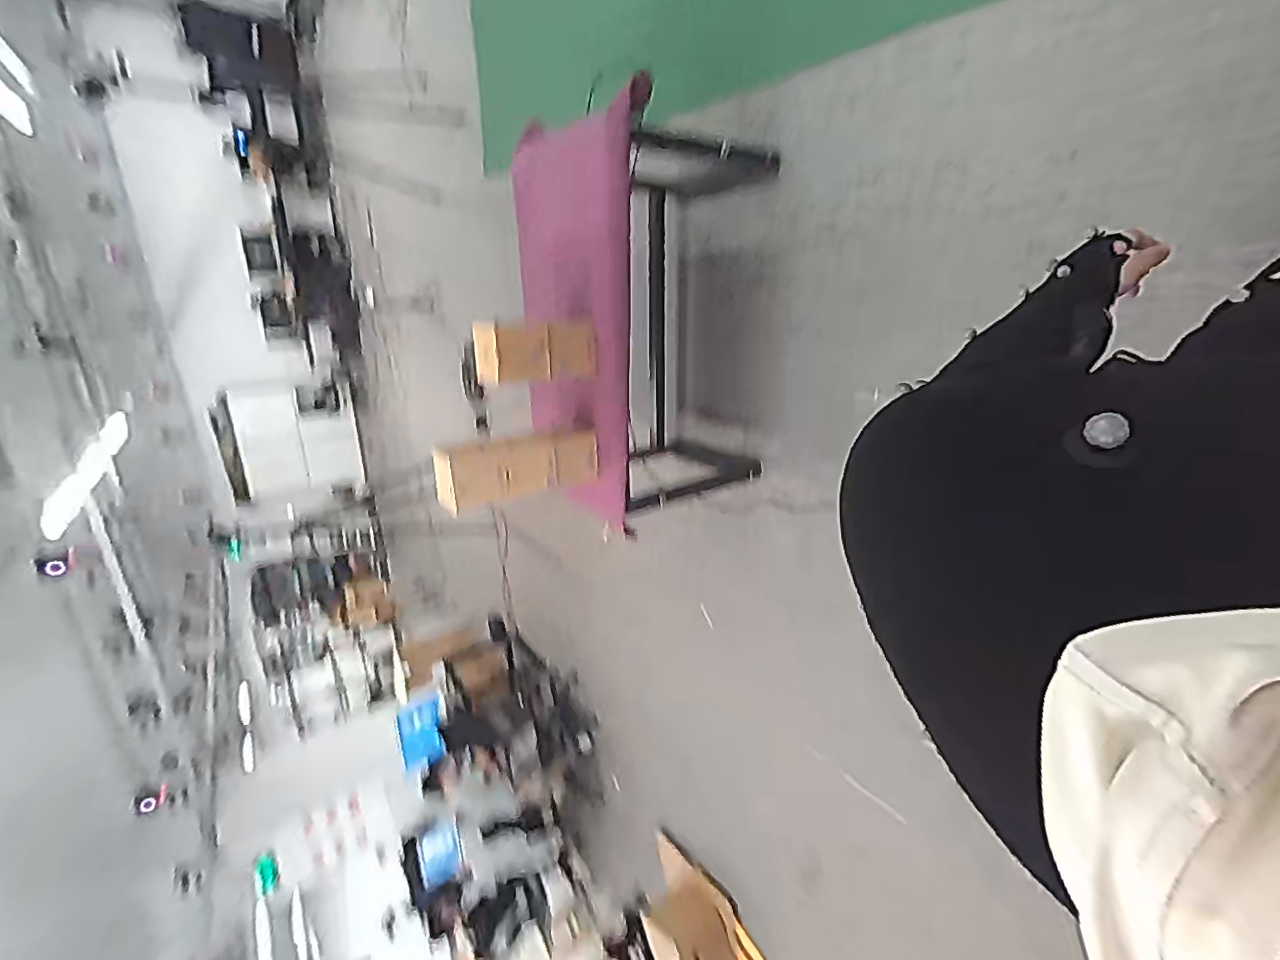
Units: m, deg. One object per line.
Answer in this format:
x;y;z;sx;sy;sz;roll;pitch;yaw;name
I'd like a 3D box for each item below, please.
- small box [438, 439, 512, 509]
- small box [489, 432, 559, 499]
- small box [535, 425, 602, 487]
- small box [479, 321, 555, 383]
-0.508;-0.026;1.667;0.179;0.176;0.168;23;120;52;small box
-0.371;-0.055;1.752;0.179;0.176;0.168;24;120;52;small box
-0.244;-0.088;1.850;0.179;0.176;0.168;22;119;50;small box
-0.371;-0.393;1.639;0.179;0.176;0.168;23;119;50;small box
